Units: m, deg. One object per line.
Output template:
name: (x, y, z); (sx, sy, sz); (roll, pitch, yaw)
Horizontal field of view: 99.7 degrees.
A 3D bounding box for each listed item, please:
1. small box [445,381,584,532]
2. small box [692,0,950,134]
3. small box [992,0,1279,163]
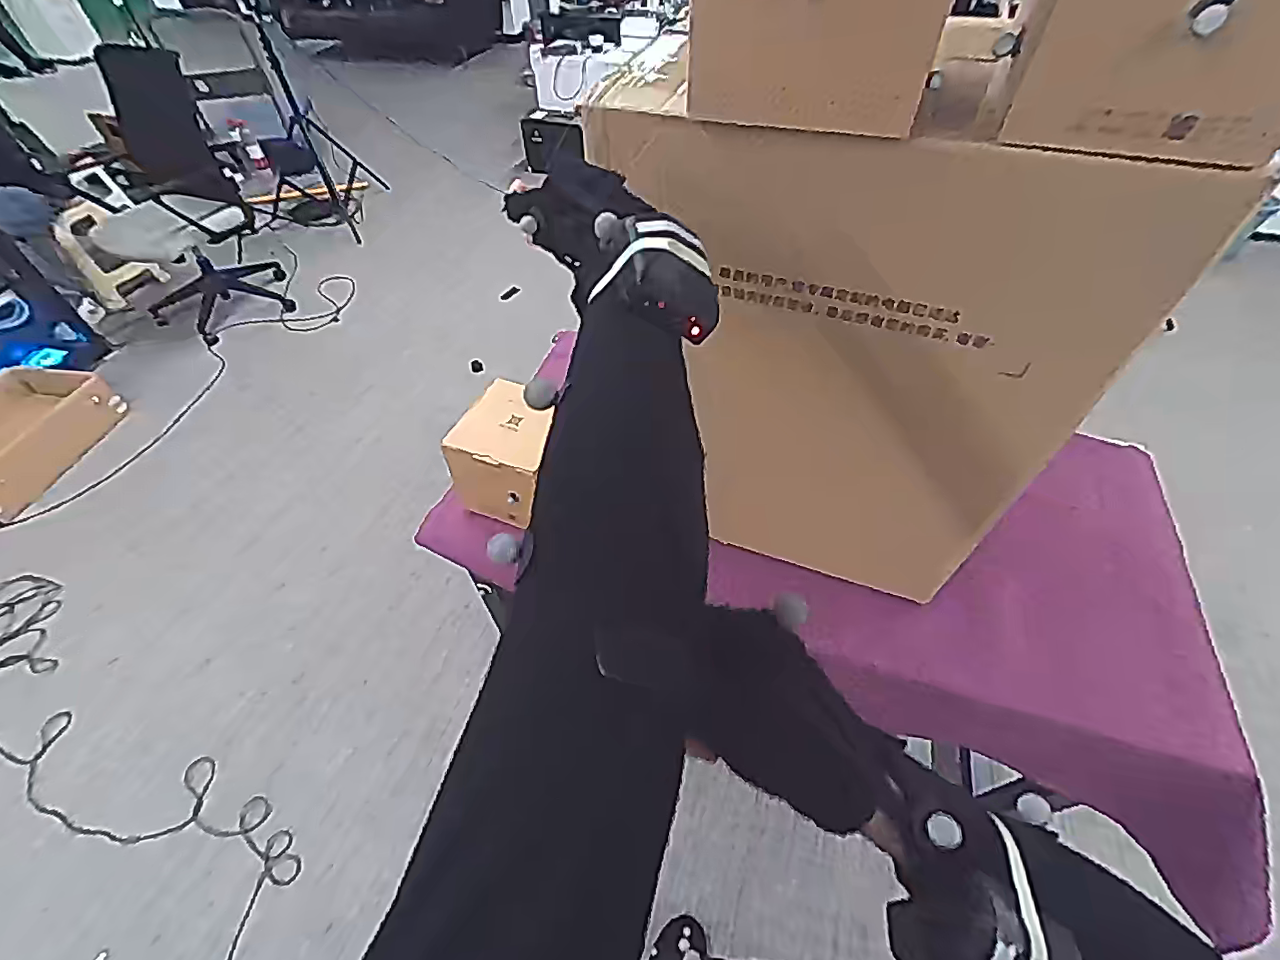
small box: (-0.202, -0.038, 0.938); (0.168, 0.176, 0.179); (18, 50, 11)
small box: (0.145, -0.386, 0.411); (0.179, 0.176, 0.168); (13, 53, 14)
small box: (0.366, -0.341, 0.366); (0.168, 0.176, 0.179); (17, 54, 14)
